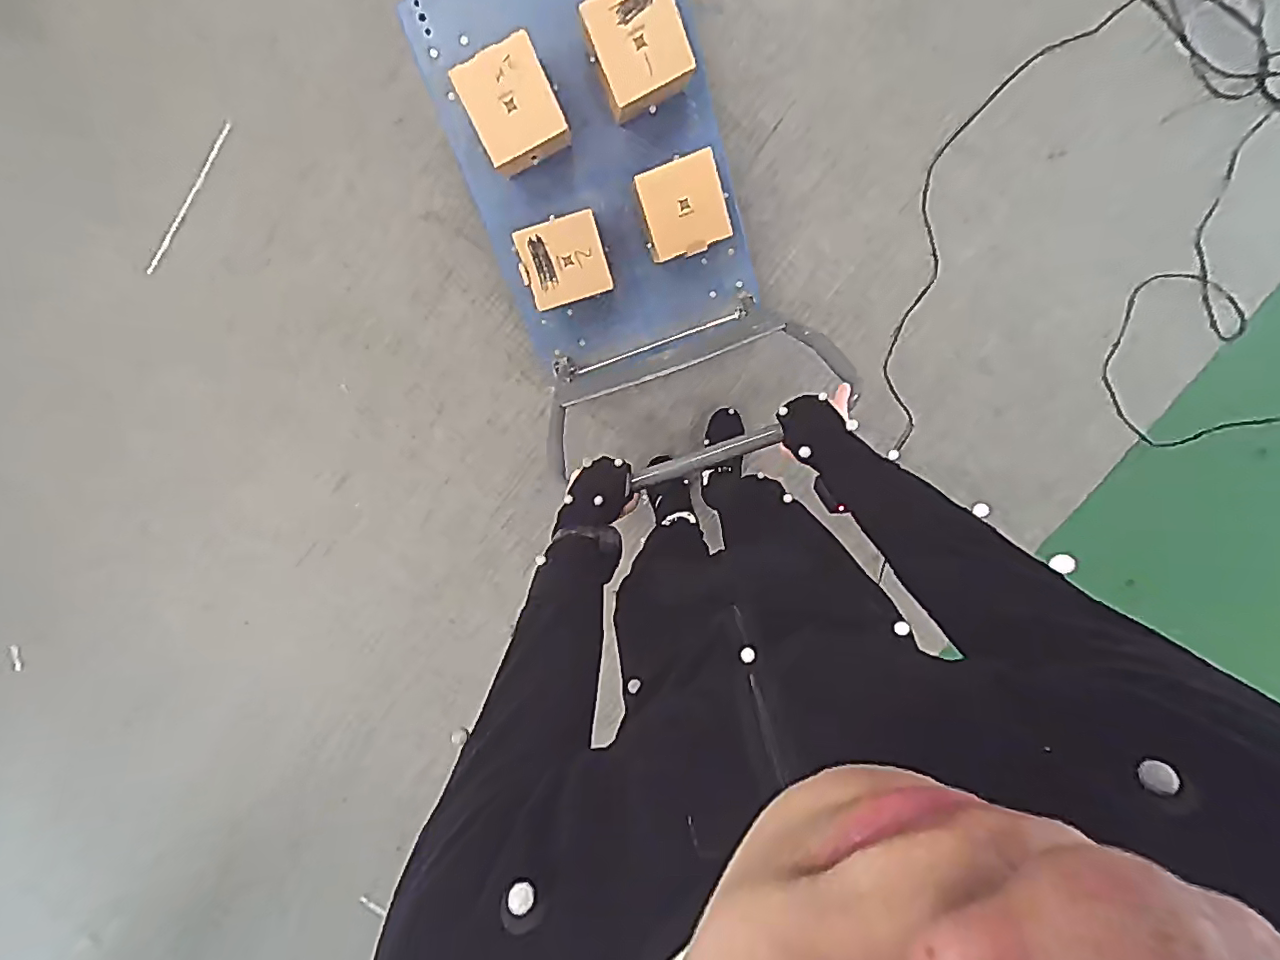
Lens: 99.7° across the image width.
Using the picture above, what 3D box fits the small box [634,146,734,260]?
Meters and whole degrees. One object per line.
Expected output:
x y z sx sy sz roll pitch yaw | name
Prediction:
0.091 -0.599 1.190 0.168 0.176 0.179 -20 114 4 | small box

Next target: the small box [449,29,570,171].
-0.252 -0.752 1.096 0.168 0.176 0.179 -25 113 5 | small box

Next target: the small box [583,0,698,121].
-0.004 -0.854 1.071 0.168 0.176 0.179 -24 114 7 | small box
